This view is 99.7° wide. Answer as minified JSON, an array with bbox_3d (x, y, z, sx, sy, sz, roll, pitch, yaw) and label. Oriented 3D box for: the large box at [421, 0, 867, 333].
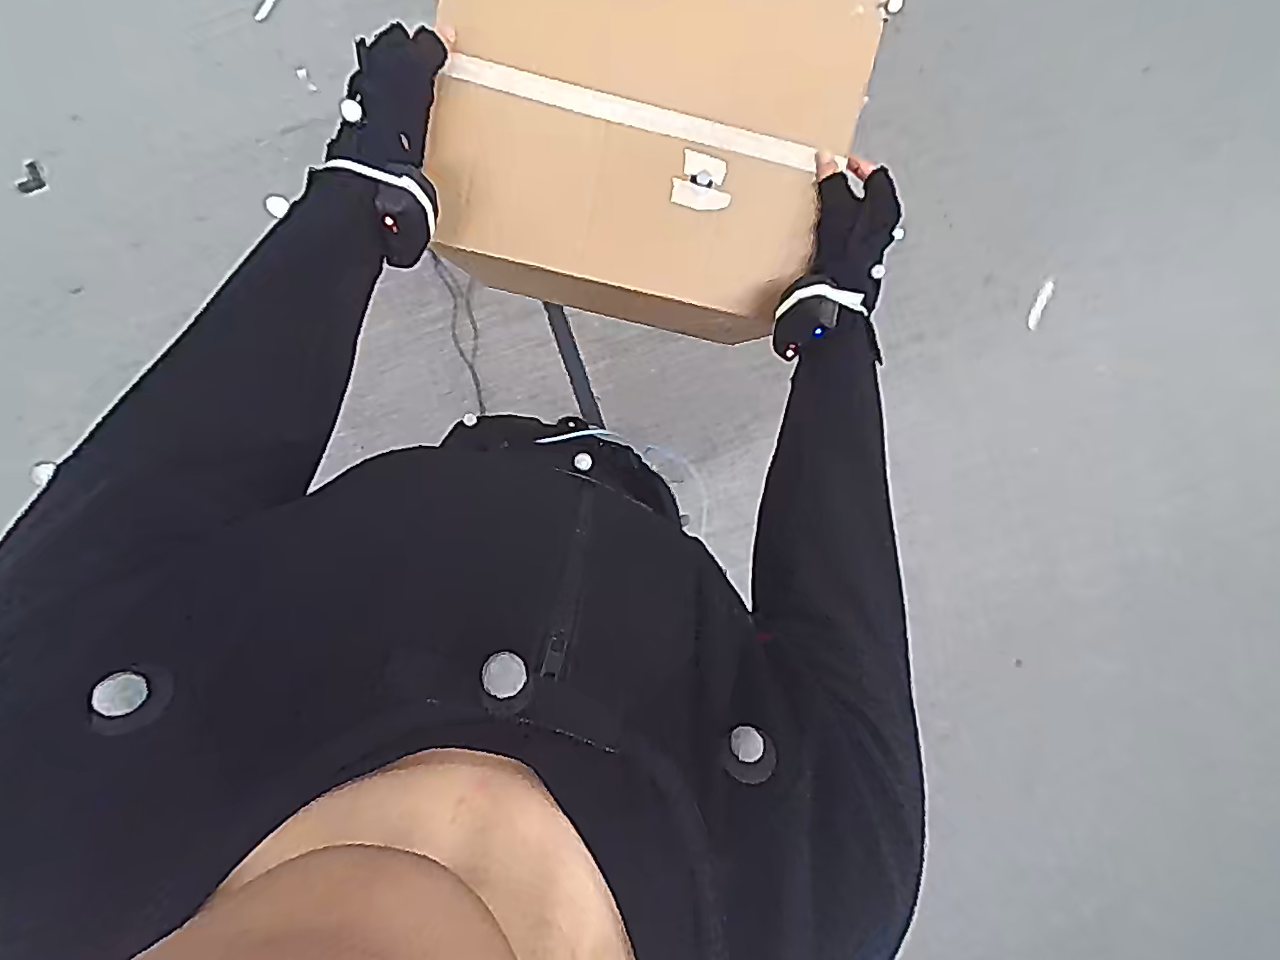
[{"bbox_3d":[-0.011,-0.384,0.675,0.408,0.320,0.320,10,101,-6],"label":"large box"}]
